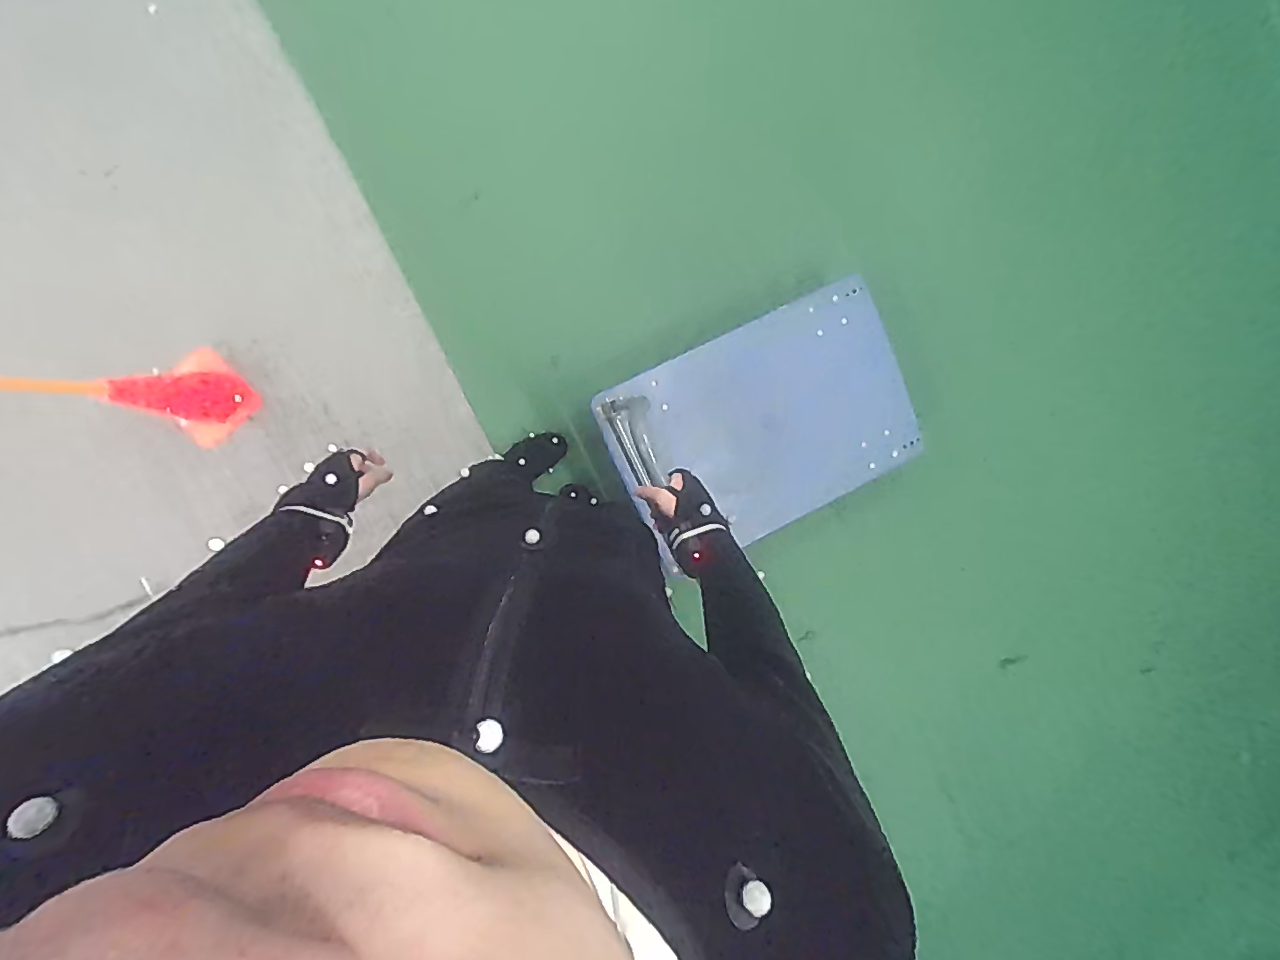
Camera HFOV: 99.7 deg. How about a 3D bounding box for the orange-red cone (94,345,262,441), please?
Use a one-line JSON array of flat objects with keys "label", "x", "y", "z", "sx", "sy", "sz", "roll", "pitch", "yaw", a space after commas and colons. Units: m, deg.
[{"label": "orange-red cone", "x": -1.118, "y": -0.216, "z": 1.269, "sx": 0.198, "sy": 0.360, "sz": 0.199, "roll": -41, "pitch": 99, "yaw": -4}]
